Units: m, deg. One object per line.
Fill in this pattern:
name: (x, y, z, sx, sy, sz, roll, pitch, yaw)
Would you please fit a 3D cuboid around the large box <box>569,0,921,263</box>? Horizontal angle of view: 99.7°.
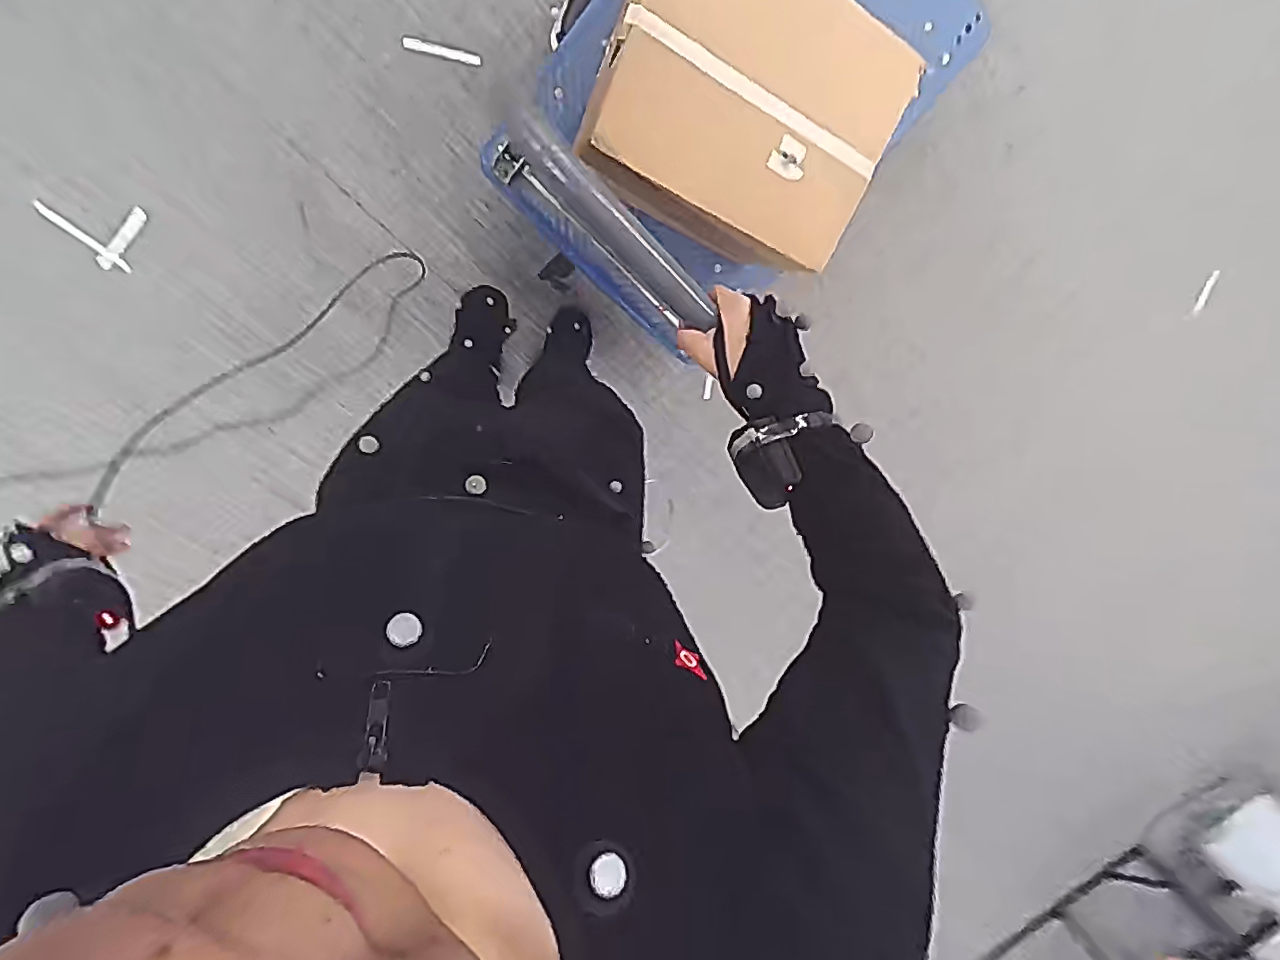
large box: (0.135, -0.588, 0.879, 0.408, 0.320, 0.320, 17, 109, -21)
